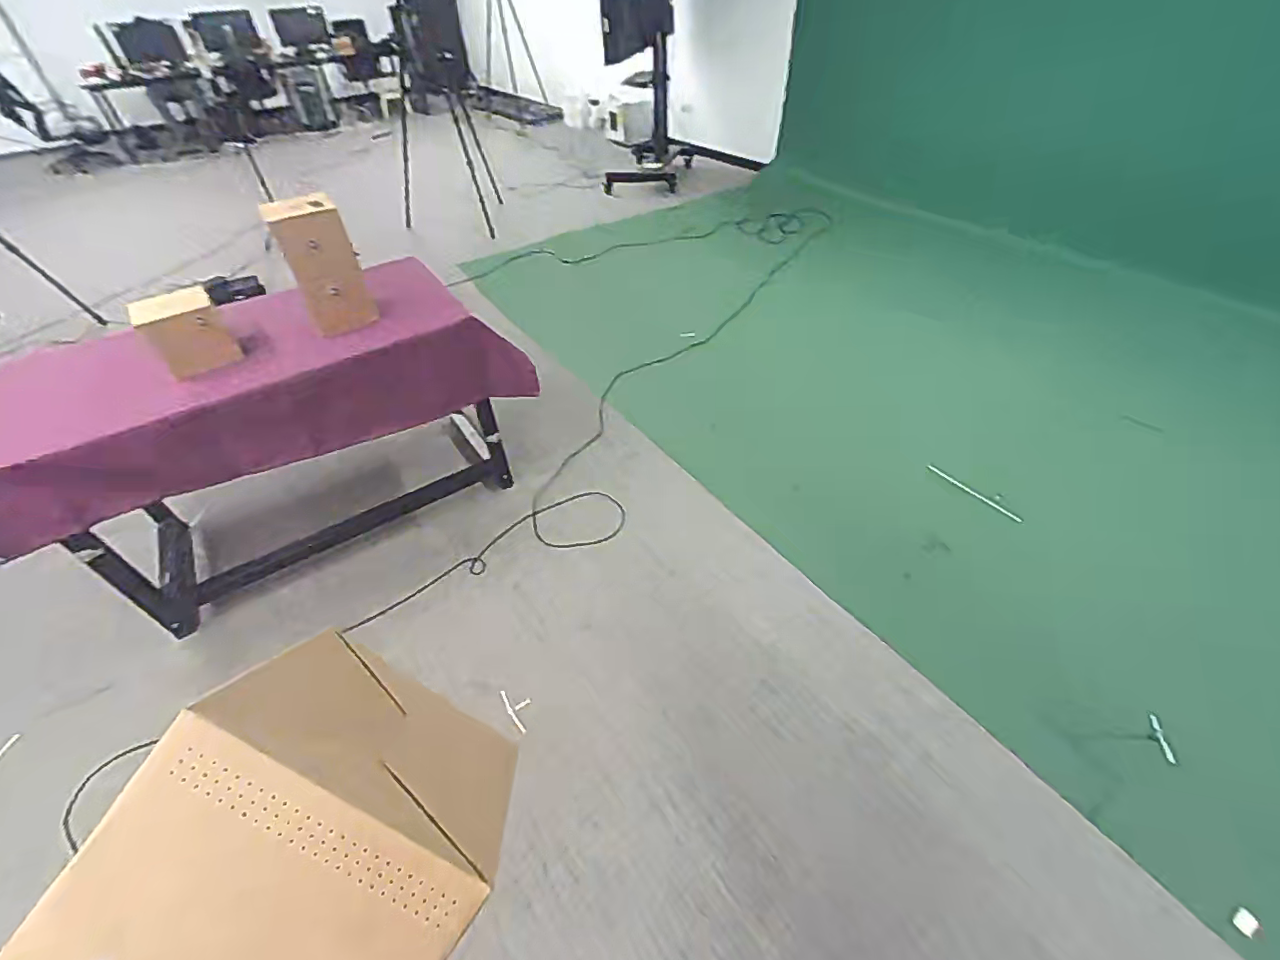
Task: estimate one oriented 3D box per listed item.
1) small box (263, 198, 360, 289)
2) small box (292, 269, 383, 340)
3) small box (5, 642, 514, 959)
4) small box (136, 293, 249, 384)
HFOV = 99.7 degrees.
[{"bbox_3d":[-0.912,-0.662,1.516,0.179,0.176,0.168,-27,49,-21],"label":"small box"},{"bbox_3d":[-0.908,-0.544,1.629,0.179,0.176,0.168,-26,49,-22],"label":"small box"},{"bbox_3d":[-0.203,0.229,0.339,0.179,0.168,0.176,34,84,-6],"label":"small box"},{"bbox_3d":[-1.232,-0.388,1.493,0.179,0.176,0.168,-30,49,-25],"label":"small box"}]
